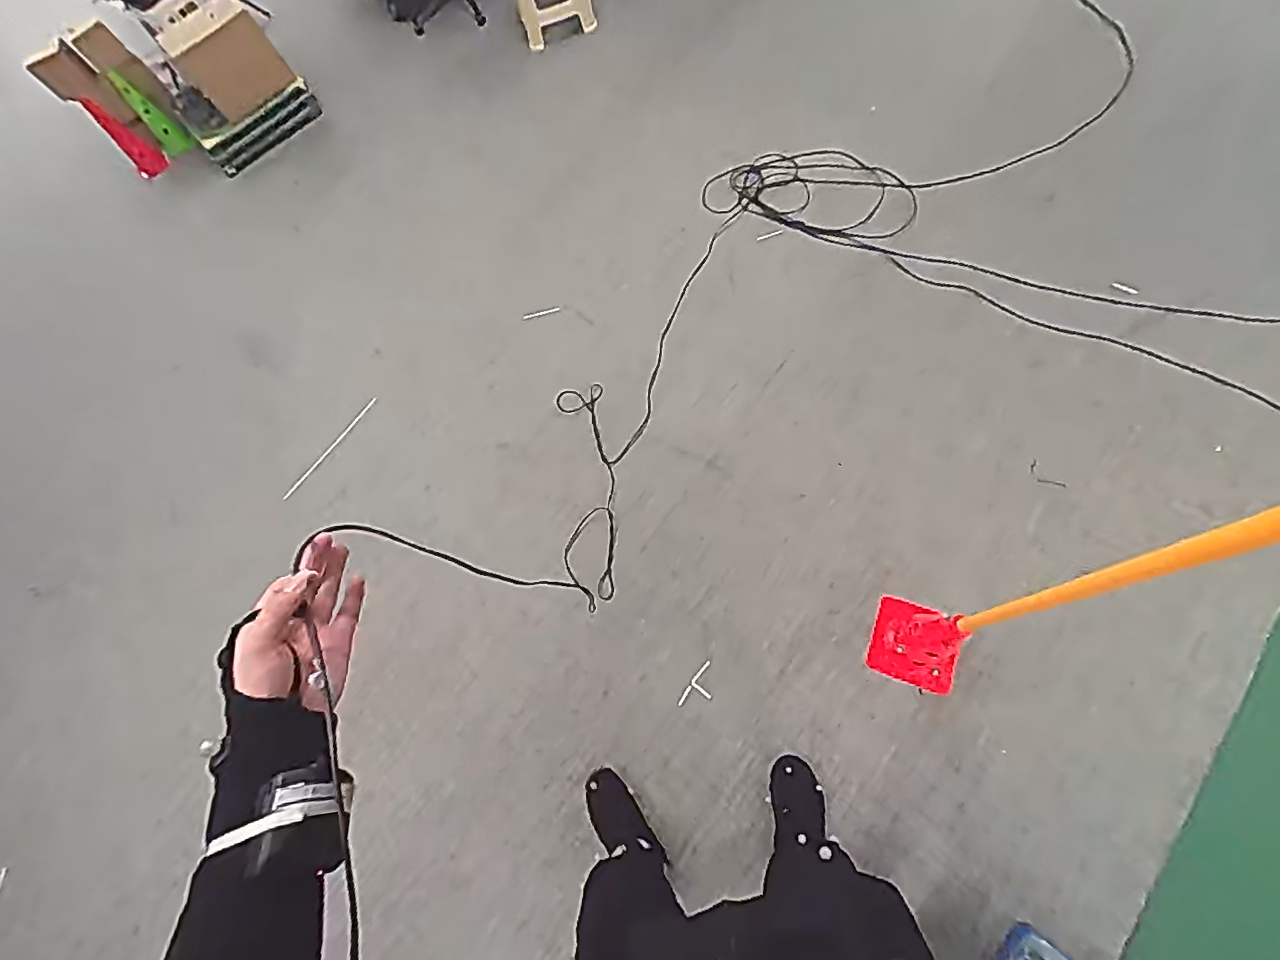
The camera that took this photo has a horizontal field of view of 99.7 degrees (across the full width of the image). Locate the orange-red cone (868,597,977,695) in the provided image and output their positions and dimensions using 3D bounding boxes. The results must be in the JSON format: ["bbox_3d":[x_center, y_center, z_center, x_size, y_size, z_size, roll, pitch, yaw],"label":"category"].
[{"bbox_3d":[0.665,0.348,1.210,0.198,0.360,0.199,18,71,17],"label":"orange-red cone"}]
